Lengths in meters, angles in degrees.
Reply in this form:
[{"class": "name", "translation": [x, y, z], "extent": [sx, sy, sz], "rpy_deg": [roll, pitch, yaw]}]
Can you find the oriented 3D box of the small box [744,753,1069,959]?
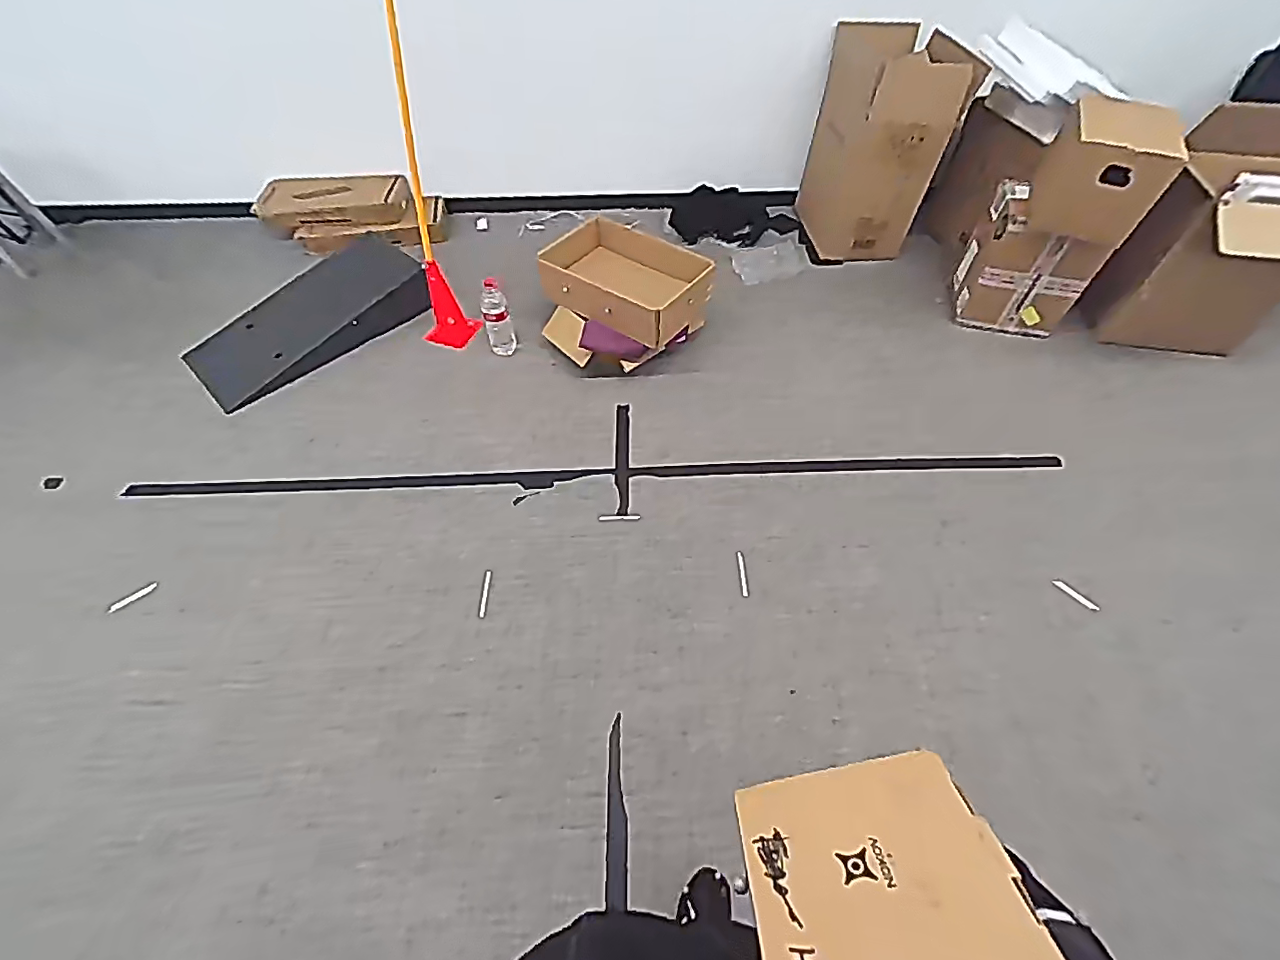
[{"class": "small box", "translation": [0.194, 0.355, 0.423], "extent": [0.179, 0.176, 0.168], "rpy_deg": [-15, 18, 6]}]
